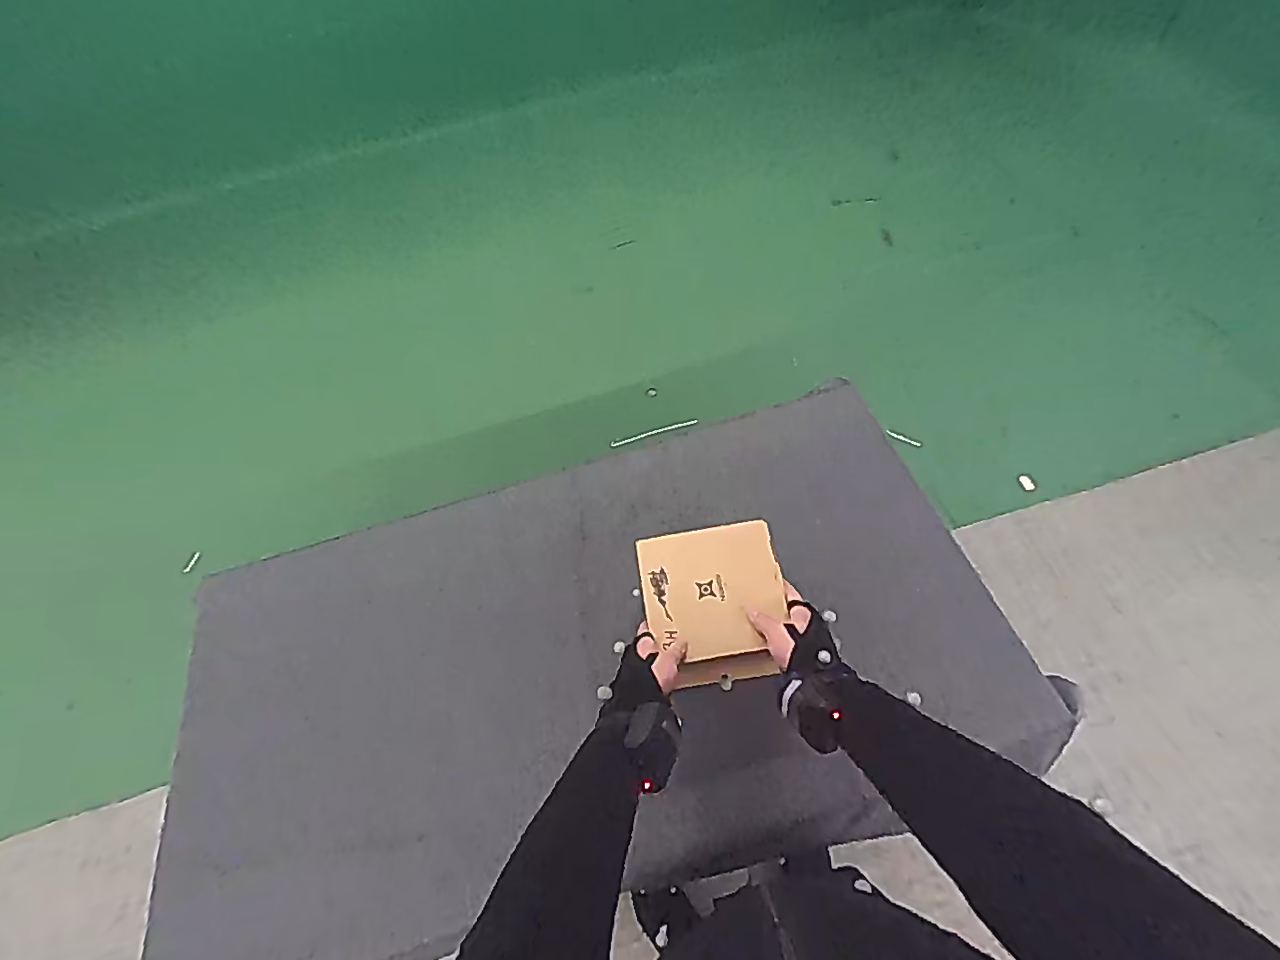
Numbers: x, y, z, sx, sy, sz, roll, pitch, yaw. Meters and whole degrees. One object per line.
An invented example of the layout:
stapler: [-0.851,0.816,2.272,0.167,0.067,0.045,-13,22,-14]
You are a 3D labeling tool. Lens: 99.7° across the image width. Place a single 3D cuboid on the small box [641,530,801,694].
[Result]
small box: [0.101,0.186,0.739,0.179,0.176,0.168,-9,59,1]
